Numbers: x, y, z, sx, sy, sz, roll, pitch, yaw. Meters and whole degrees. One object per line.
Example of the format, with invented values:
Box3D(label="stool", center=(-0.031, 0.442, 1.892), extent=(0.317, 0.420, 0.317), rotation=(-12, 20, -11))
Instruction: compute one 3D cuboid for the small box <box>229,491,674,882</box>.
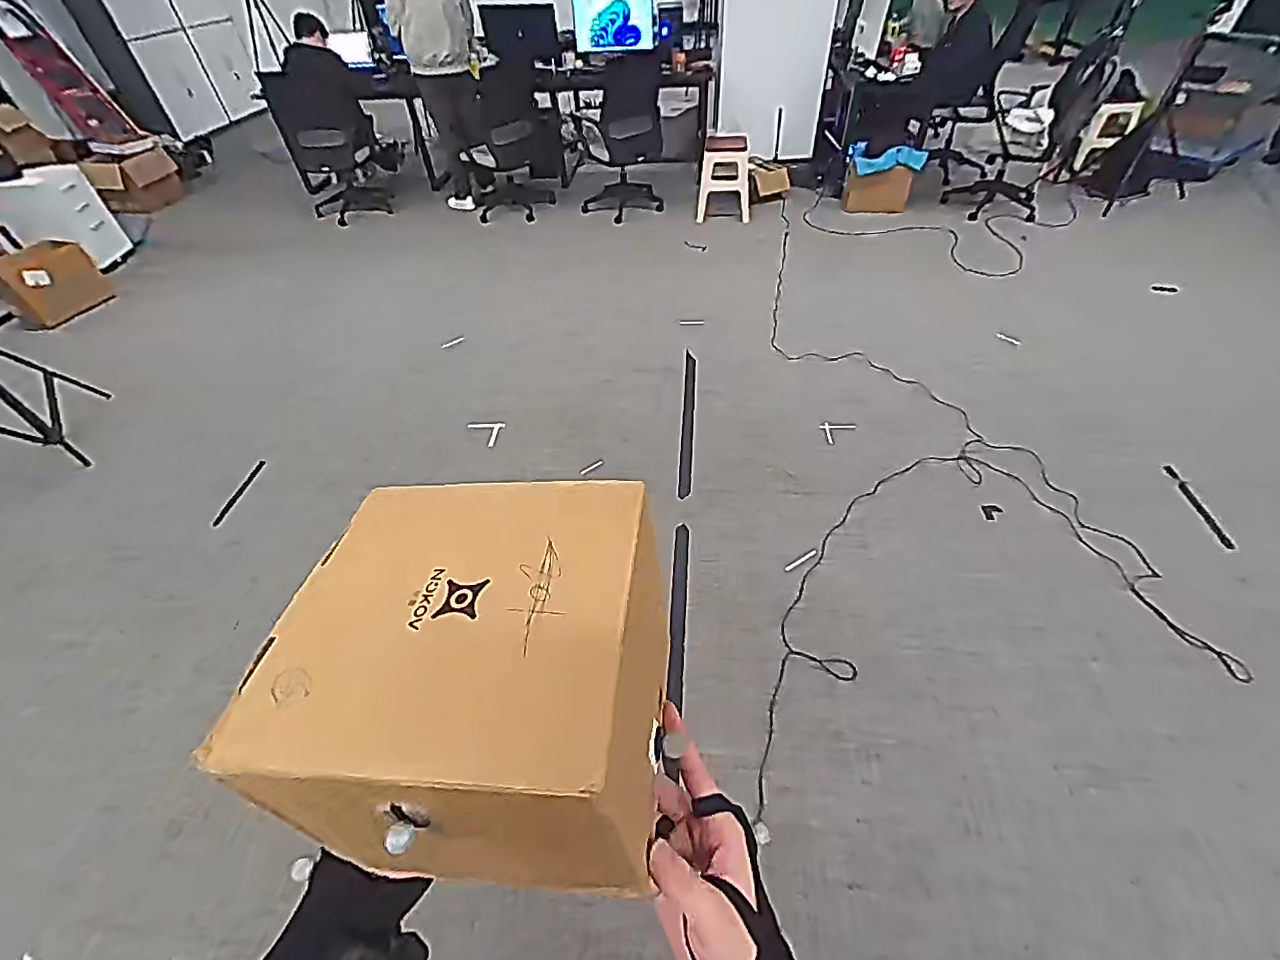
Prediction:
Box3D(label="small box", center=(-0.076, 0.125, 0.330), extent=(0.179, 0.176, 0.168), rotation=(-2, 43, 8))
